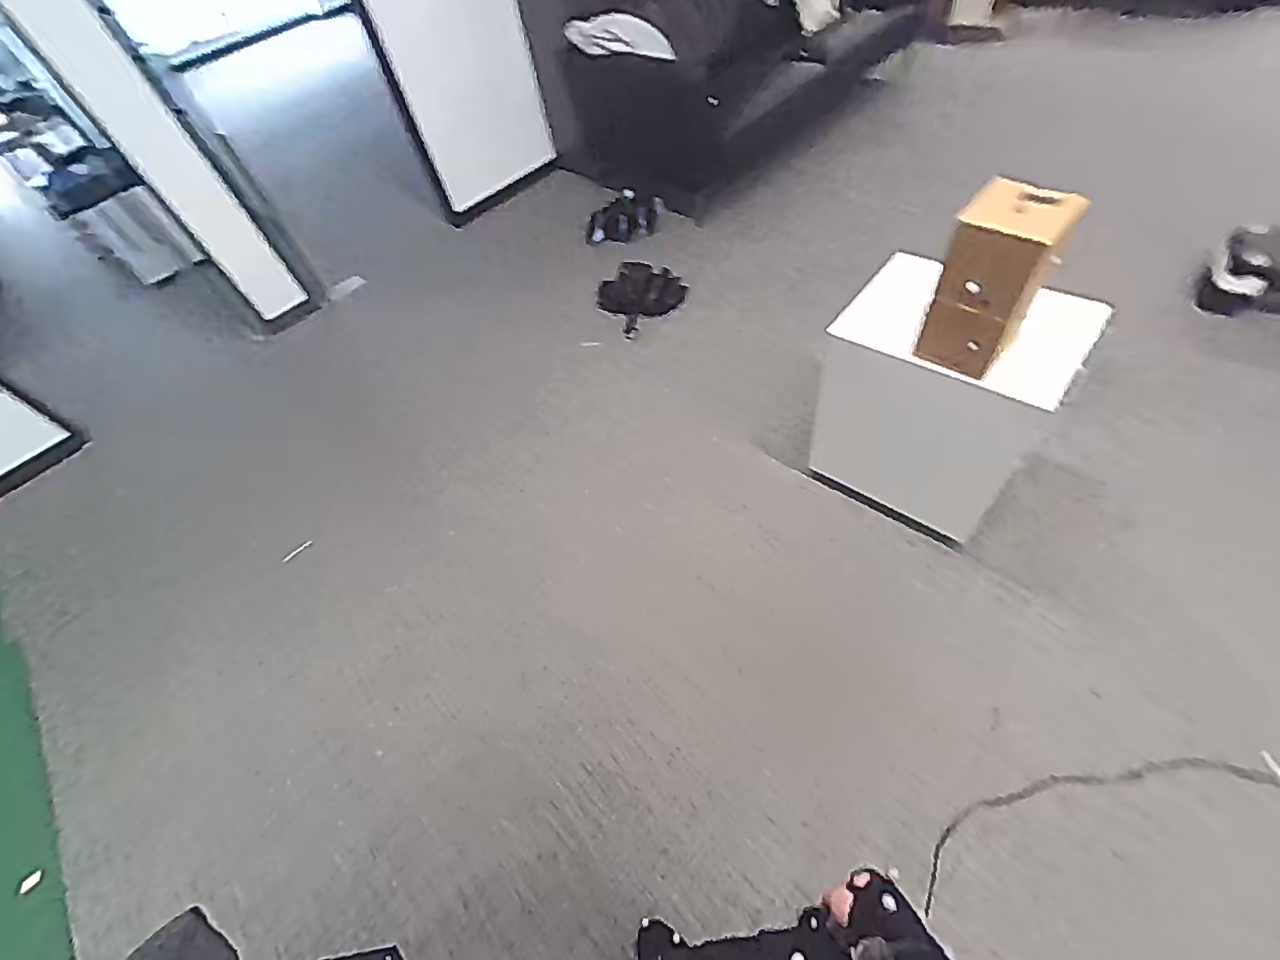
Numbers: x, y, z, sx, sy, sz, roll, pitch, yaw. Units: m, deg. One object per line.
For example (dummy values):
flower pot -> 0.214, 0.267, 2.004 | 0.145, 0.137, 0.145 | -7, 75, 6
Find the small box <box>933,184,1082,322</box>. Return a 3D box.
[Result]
small box -> 0.718, -0.450, 1.077 | 0.168, 0.176, 0.179 | 35, 66, 30

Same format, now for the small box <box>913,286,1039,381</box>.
small box -> 0.737, -0.351, 1.207 | 0.168, 0.176, 0.179 | 34, 64, 29
